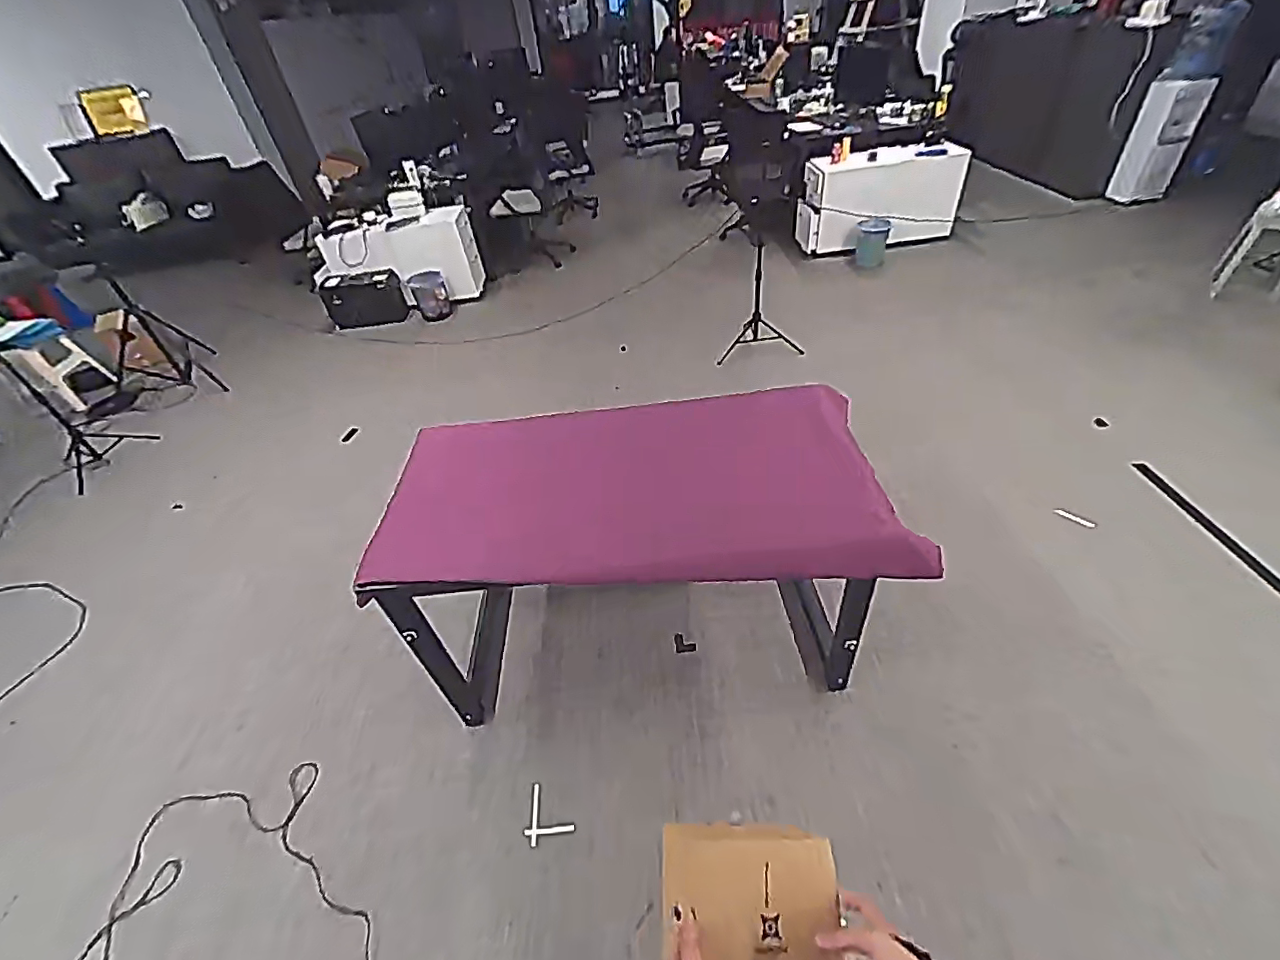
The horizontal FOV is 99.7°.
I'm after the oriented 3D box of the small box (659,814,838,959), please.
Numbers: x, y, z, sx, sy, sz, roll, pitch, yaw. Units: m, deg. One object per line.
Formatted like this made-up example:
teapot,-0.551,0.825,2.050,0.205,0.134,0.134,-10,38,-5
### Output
small box,0.118,0.512,0.647,0.168,0.176,0.179,5,63,-8
